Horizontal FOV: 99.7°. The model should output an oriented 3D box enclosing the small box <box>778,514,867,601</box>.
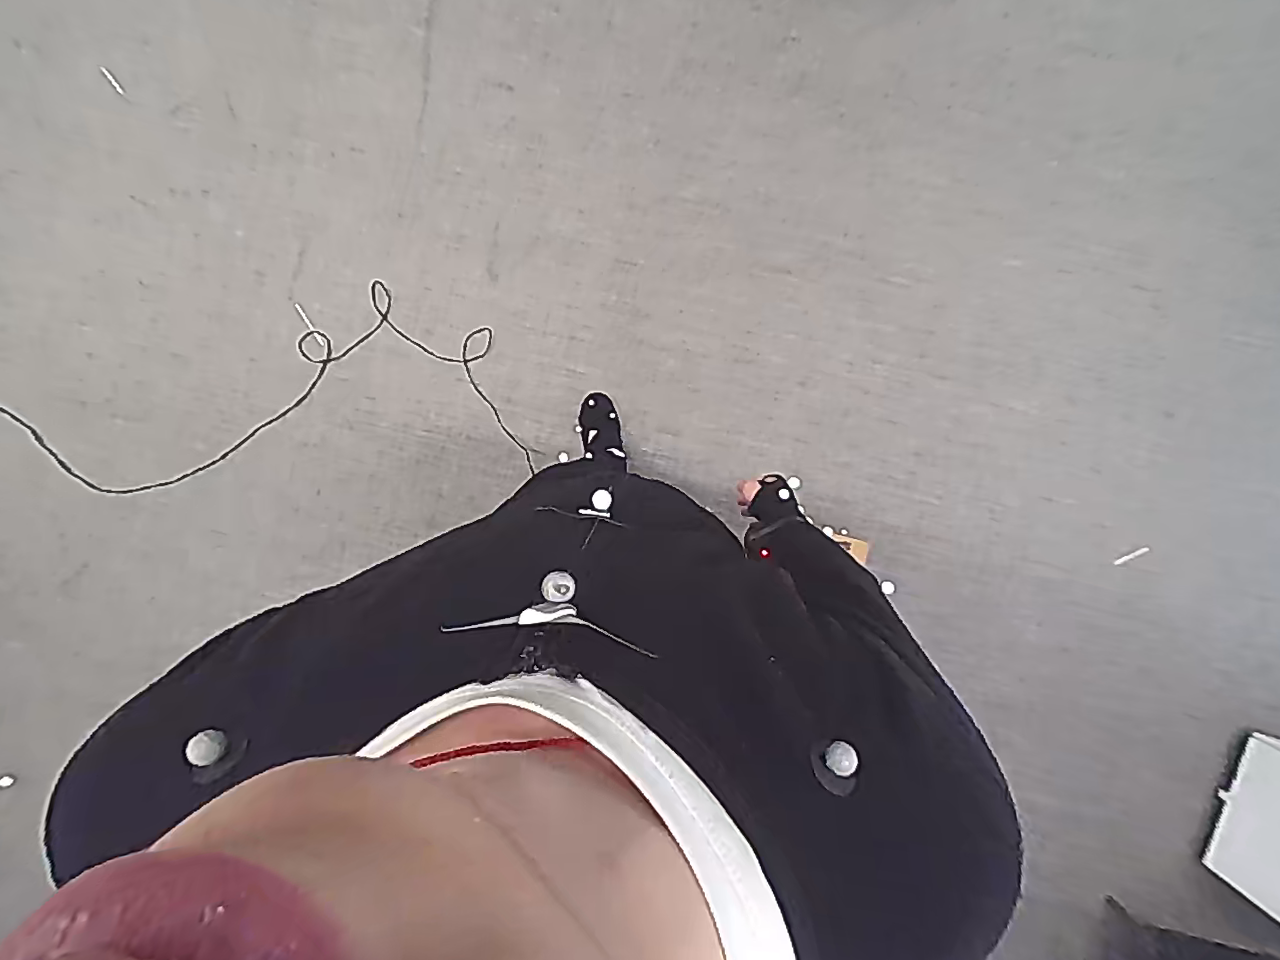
[{"bbox_3d":[0.488,0.206,1.475,0.168,0.176,0.179,14,95,1],"label":"small box"}]
